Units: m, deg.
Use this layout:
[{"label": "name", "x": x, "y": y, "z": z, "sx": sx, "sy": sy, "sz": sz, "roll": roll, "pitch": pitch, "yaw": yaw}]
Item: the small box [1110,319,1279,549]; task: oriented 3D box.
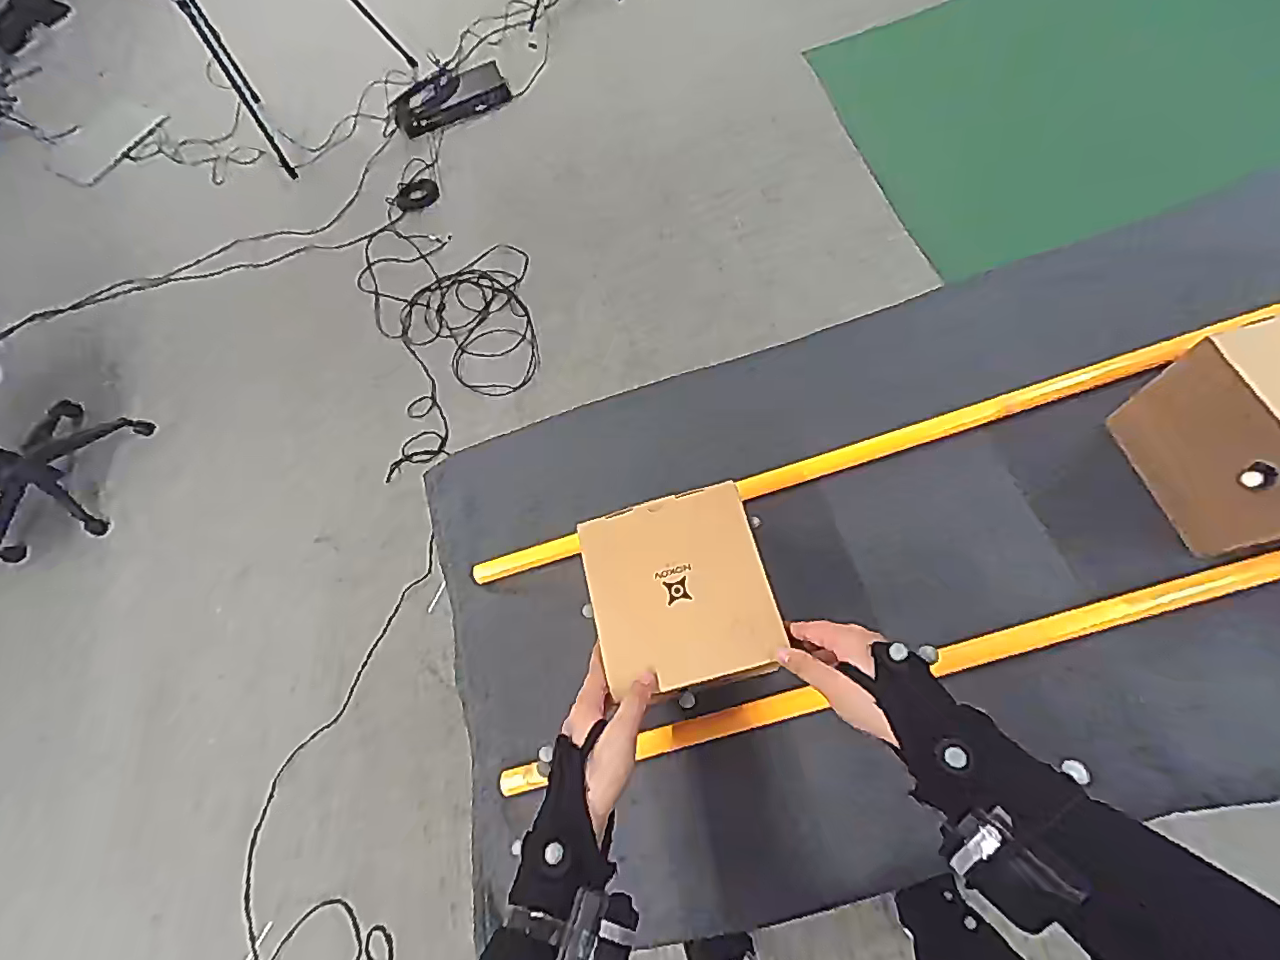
[{"label": "small box", "x": 0.622, "y": -0.042, "z": 0.519, "sx": 0.168, "sy": 0.176, "sz": 0.179, "roll": -15, "pitch": 66, "yaw": 7}]

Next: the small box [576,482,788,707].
[{"label": "small box", "x": 0.046, "y": 0.130, "z": 0.574, "sx": 0.168, "sy": 0.176, "sz": 0.179, "roll": -17, "pitch": 65, "yaw": 3}]
